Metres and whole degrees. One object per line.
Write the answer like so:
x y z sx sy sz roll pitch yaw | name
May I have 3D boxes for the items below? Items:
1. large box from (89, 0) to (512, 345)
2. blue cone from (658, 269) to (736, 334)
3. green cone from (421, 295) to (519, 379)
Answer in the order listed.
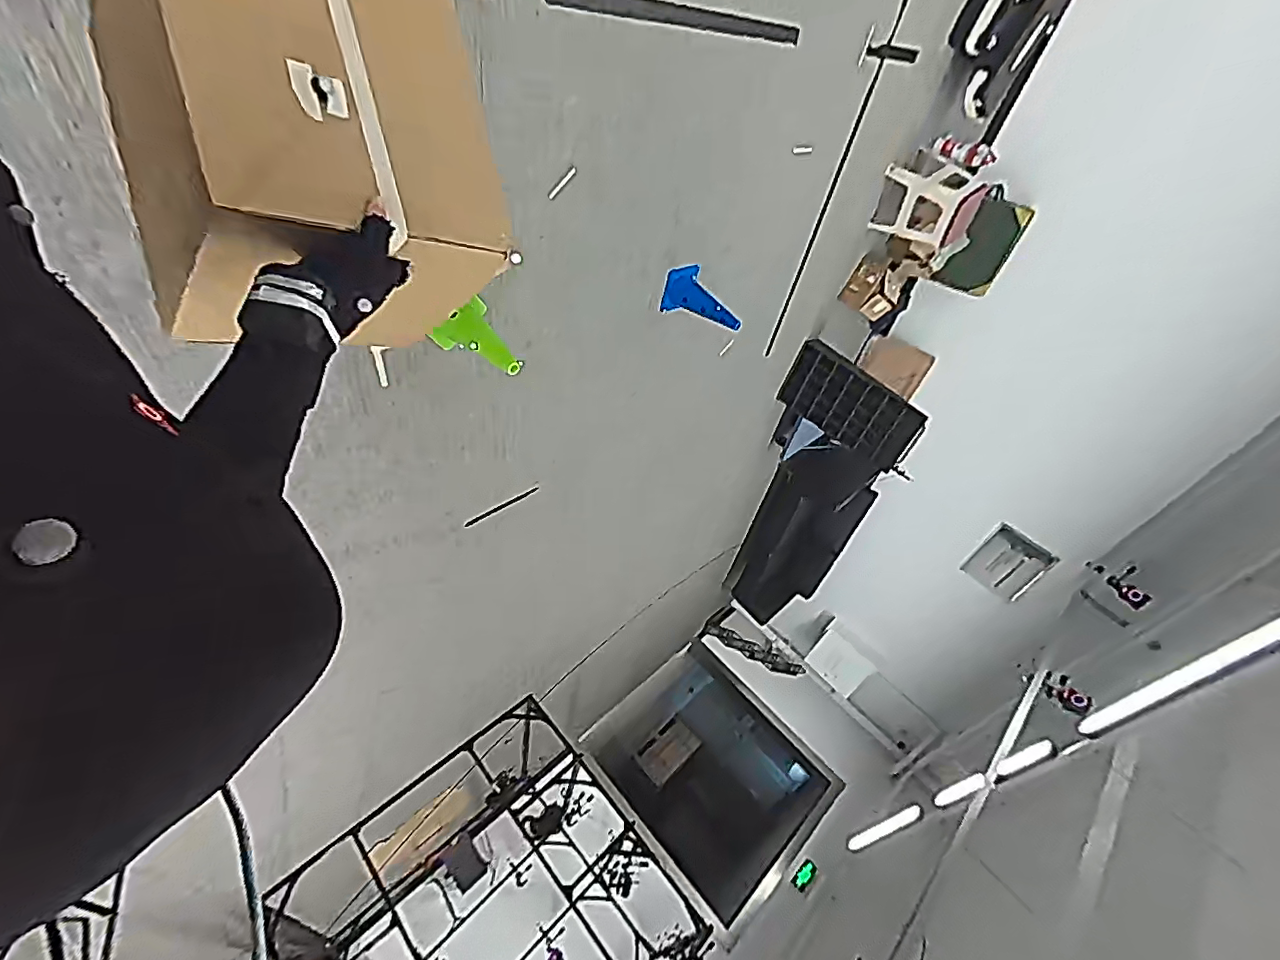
-0.417 -0.414 0.670 0.320 0.408 0.320 -14 180 44 | large box
0.273 -0.761 2.380 0.193 0.380 0.192 -27 148 -38 | blue cone
-0.489 -0.414 1.618 0.200 0.368 0.202 -47 156 -2 | green cone
